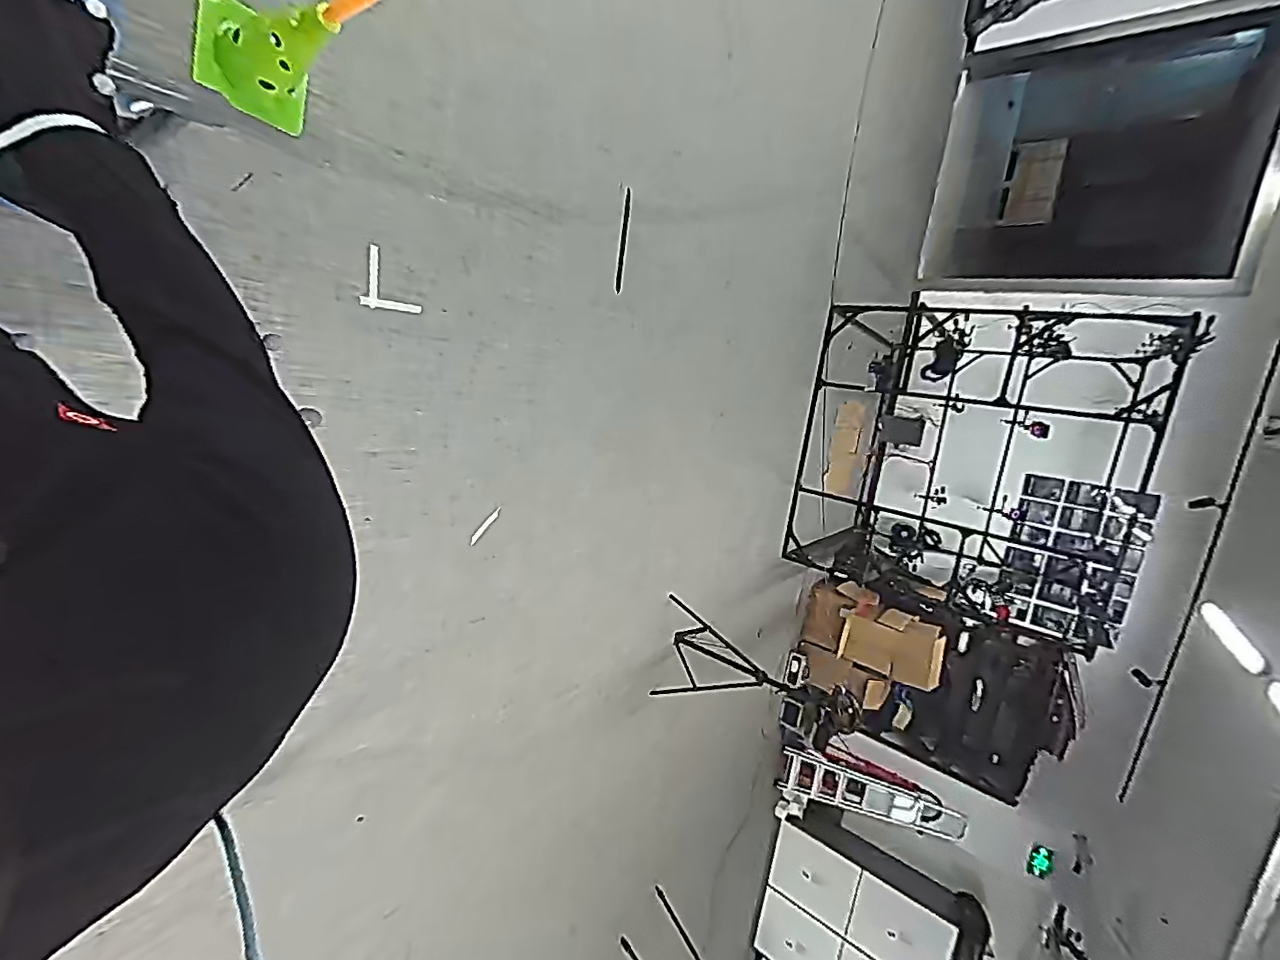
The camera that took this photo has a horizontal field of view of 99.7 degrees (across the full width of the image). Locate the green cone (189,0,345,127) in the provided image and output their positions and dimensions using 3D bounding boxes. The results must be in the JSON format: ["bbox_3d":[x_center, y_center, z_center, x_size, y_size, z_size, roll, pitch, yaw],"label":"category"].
[{"bbox_3d":[-0.683,-0.852,1.043,0.202,0.368,0.200,1,102,-55],"label":"green cone"}]
